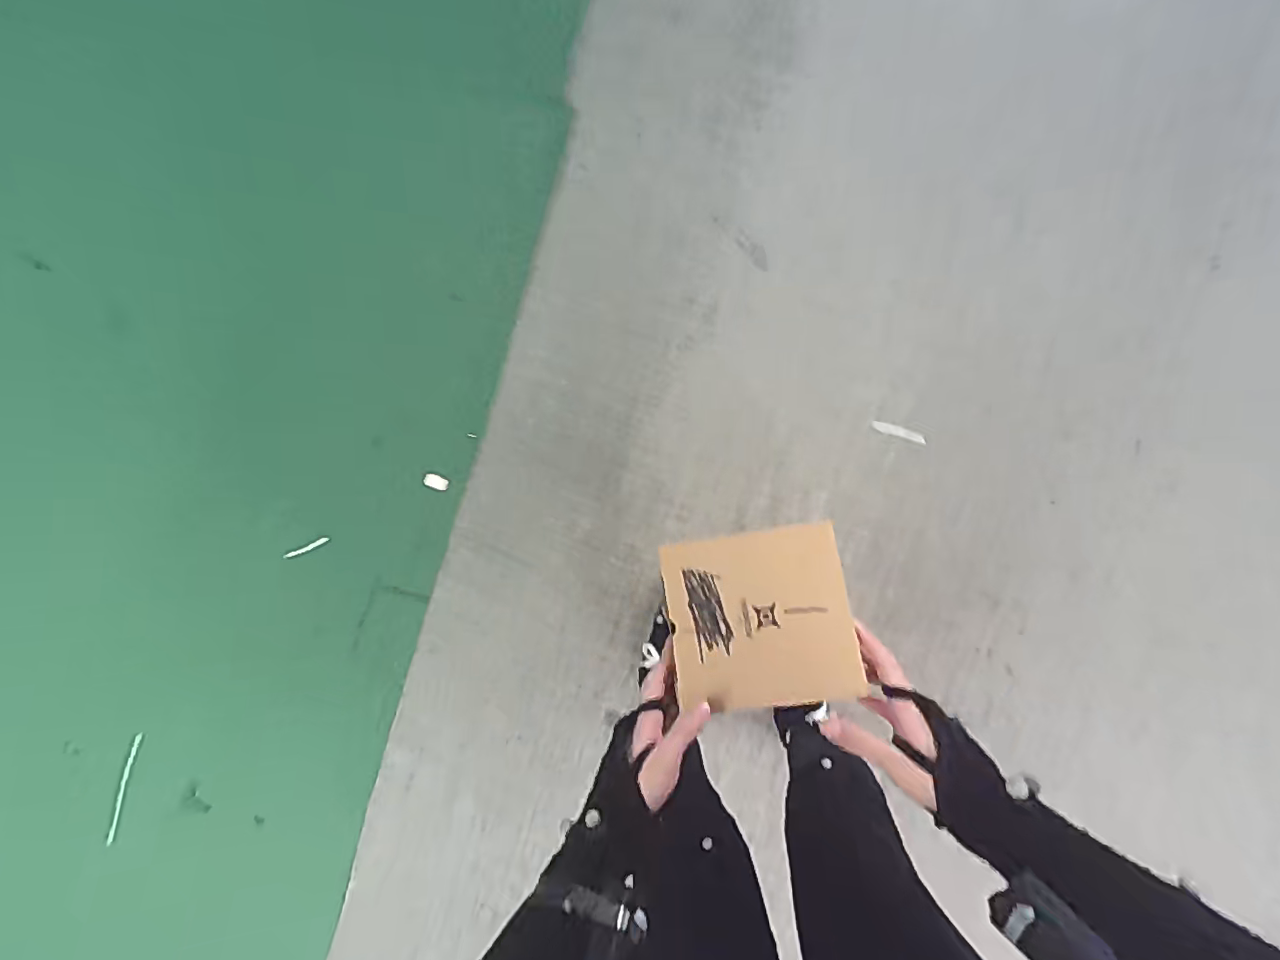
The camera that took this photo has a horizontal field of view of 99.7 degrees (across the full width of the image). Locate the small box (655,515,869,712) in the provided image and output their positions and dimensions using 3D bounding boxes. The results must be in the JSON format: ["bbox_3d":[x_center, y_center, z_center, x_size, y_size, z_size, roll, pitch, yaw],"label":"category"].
[{"bbox_3d":[0.123,0.145,0.588,0.179,0.176,0.168,-10,75,6],"label":"small box"}]
